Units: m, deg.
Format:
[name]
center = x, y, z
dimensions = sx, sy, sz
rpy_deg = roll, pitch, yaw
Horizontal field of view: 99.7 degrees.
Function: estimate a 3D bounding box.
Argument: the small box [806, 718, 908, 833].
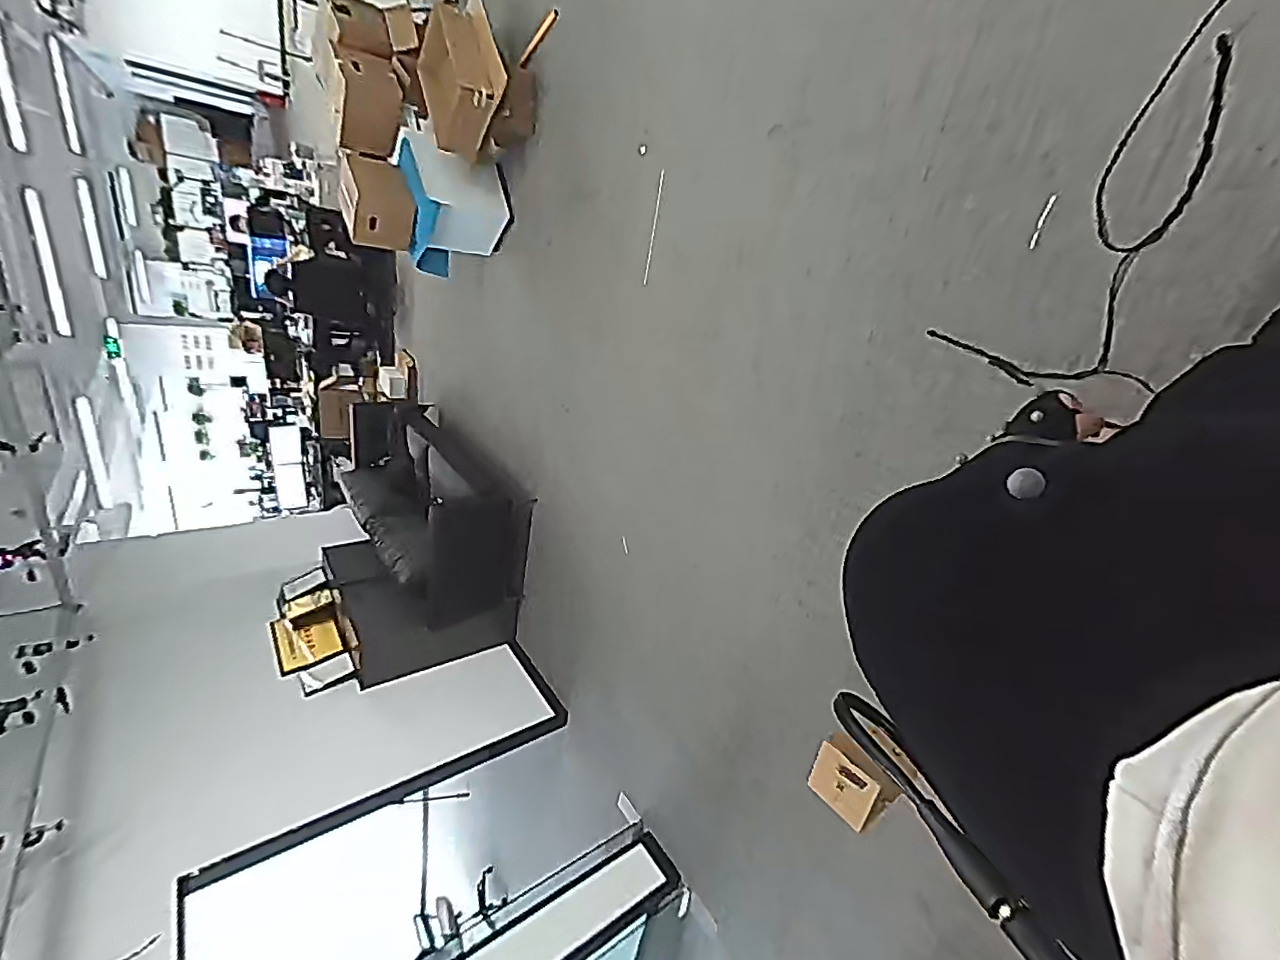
[small box]
center = 0.578, 0.772, 1.432
dimensions = 0.168, 0.176, 0.179
rpy_deg = 33, 122, 45
